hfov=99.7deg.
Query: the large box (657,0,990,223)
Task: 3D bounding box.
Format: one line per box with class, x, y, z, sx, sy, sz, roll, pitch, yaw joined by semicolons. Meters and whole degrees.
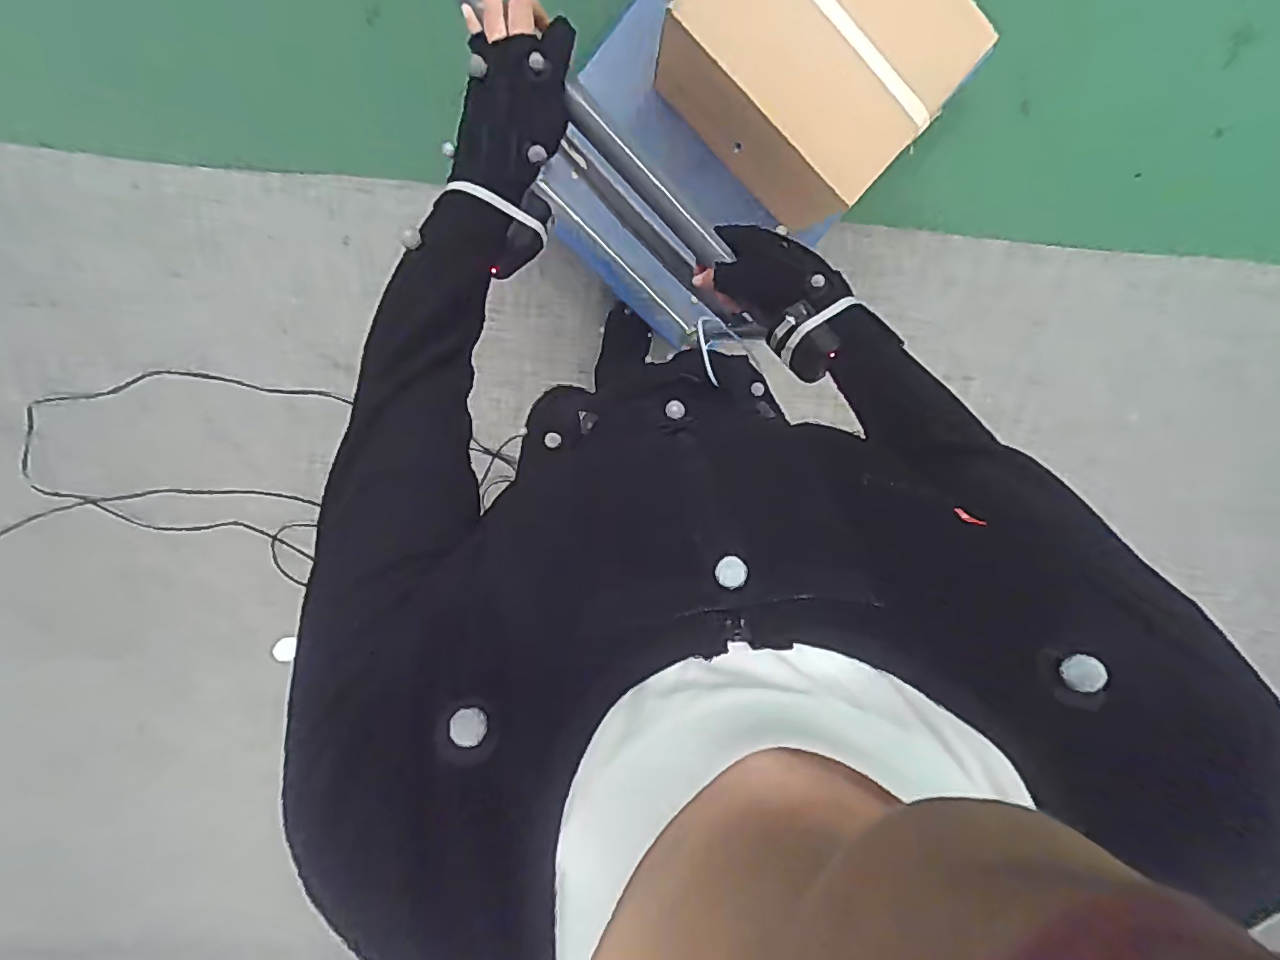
large box;0.282;-0.734;0.952;0.408;0.320;0.320;39;102;-12
